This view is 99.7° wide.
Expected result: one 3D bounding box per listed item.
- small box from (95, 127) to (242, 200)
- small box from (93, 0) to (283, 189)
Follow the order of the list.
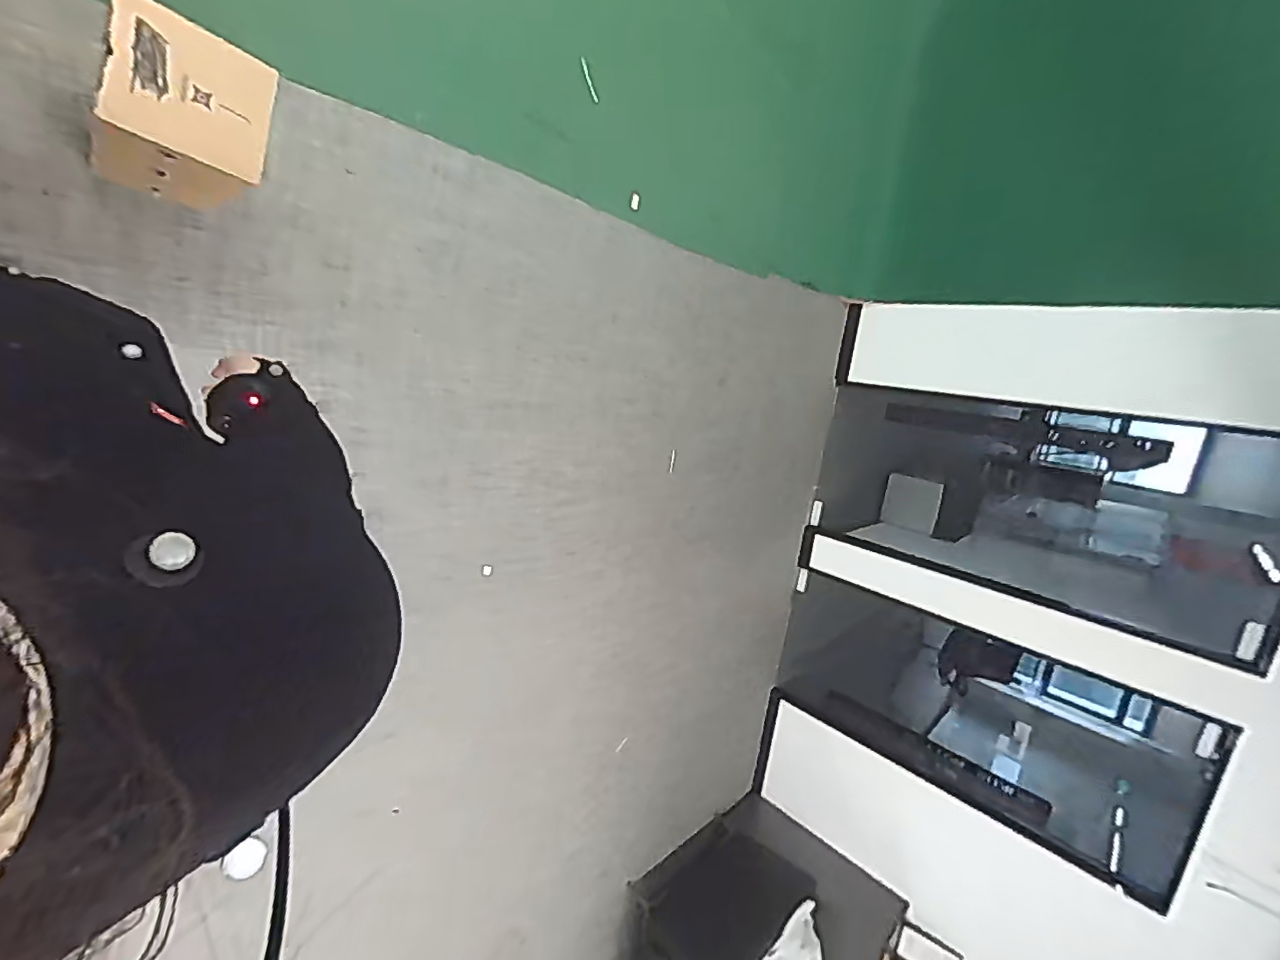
[{"bbox_3d":[-0.756,-0.580,0.884,0.179,0.176,0.168,13,96,-48],"label":"small box"},{"bbox_3d":[-0.645,-0.539,0.770,0.179,0.176,0.168,9,98,-48],"label":"small box"}]
